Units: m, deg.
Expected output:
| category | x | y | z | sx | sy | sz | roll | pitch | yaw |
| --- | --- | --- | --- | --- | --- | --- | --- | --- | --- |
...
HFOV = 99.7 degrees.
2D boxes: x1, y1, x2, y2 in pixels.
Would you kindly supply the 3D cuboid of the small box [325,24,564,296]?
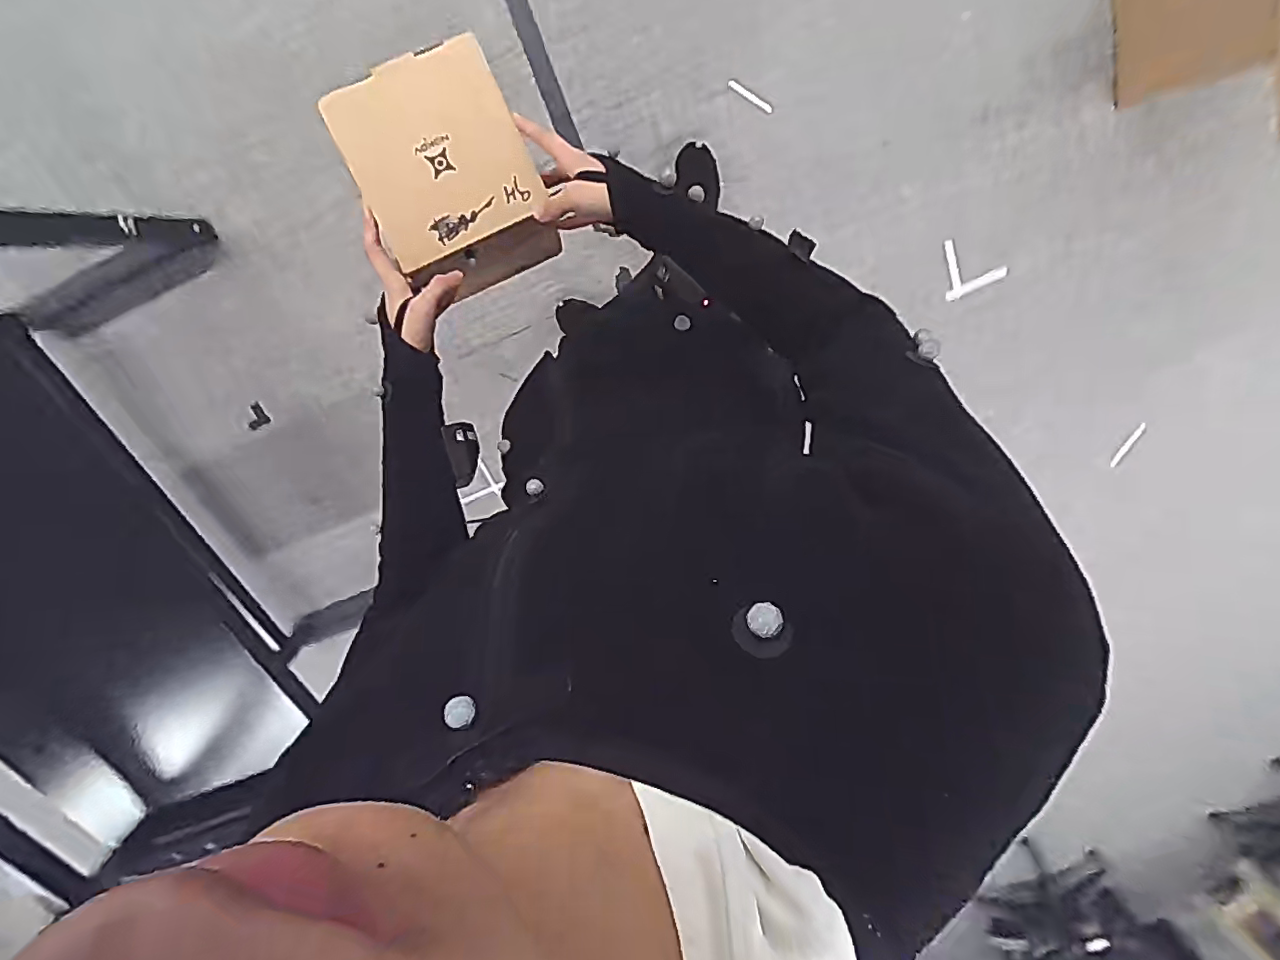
| category | x | y | z | sx | sy | sz | roll | pitch | yaw |
| --- | --- | --- | --- | --- | --- | --- | --- | --- | --- |
| small box | -0.195 | -0.329 | 0.596 | 0.168 | 0.176 | 0.179 | -24 | 99 | -1 |
